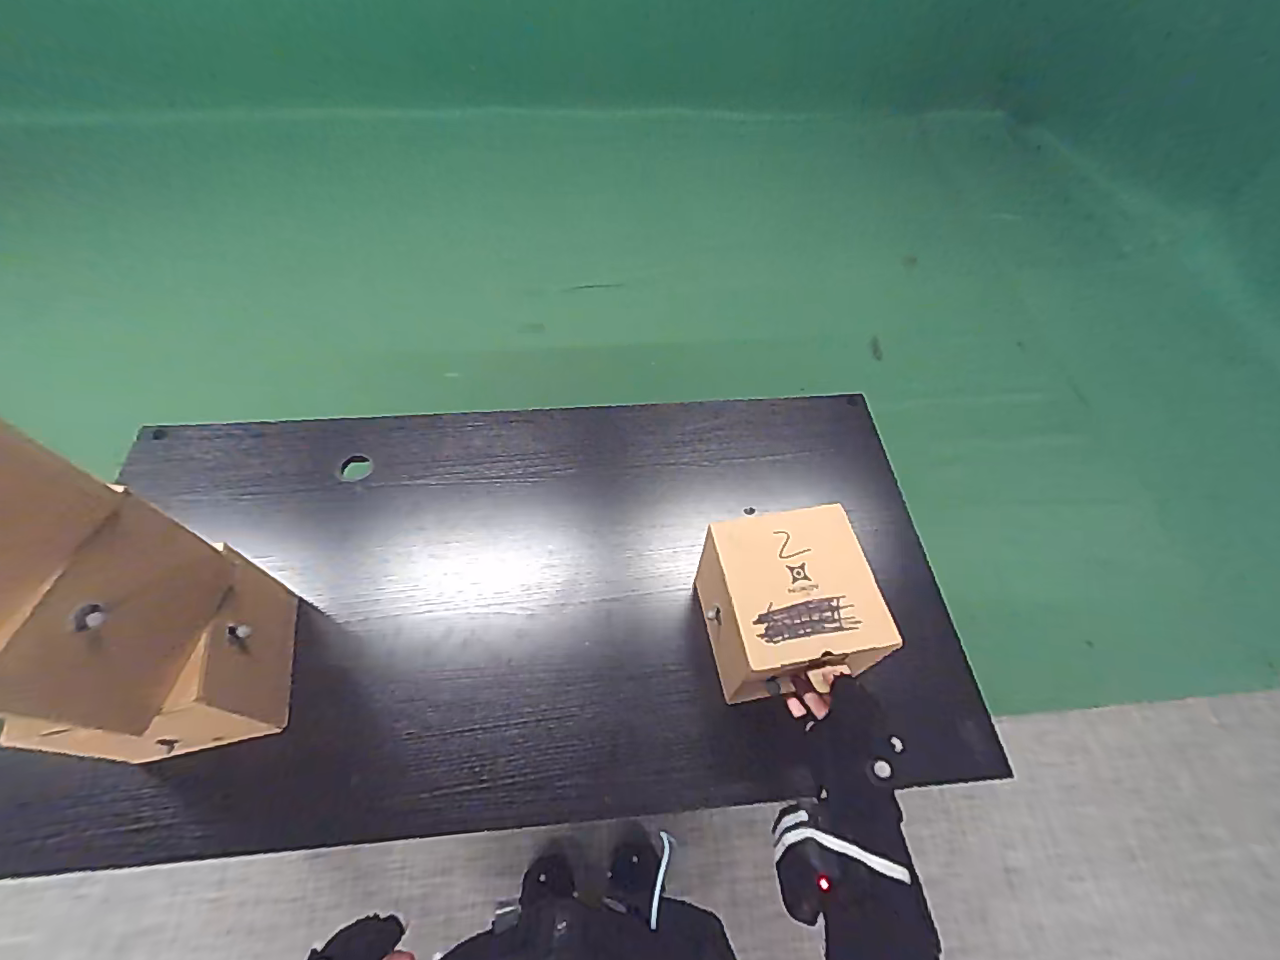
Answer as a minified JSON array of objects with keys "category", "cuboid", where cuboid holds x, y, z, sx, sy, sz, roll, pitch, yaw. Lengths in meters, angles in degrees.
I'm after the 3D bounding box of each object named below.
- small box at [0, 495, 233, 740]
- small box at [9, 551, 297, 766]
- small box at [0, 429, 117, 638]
[{"category":"small box","cuboid":[-0.517,0.118,0.476,0.168,0.176,0.179,8,57,2]},{"category":"small box","cuboid":[-0.519,0.206,0.615,0.168,0.176,0.179,-10,60,-9]},{"category":"small box","cuboid":[-0.514,0.024,0.341,0.168,0.176,0.179,17,60,7]}]
